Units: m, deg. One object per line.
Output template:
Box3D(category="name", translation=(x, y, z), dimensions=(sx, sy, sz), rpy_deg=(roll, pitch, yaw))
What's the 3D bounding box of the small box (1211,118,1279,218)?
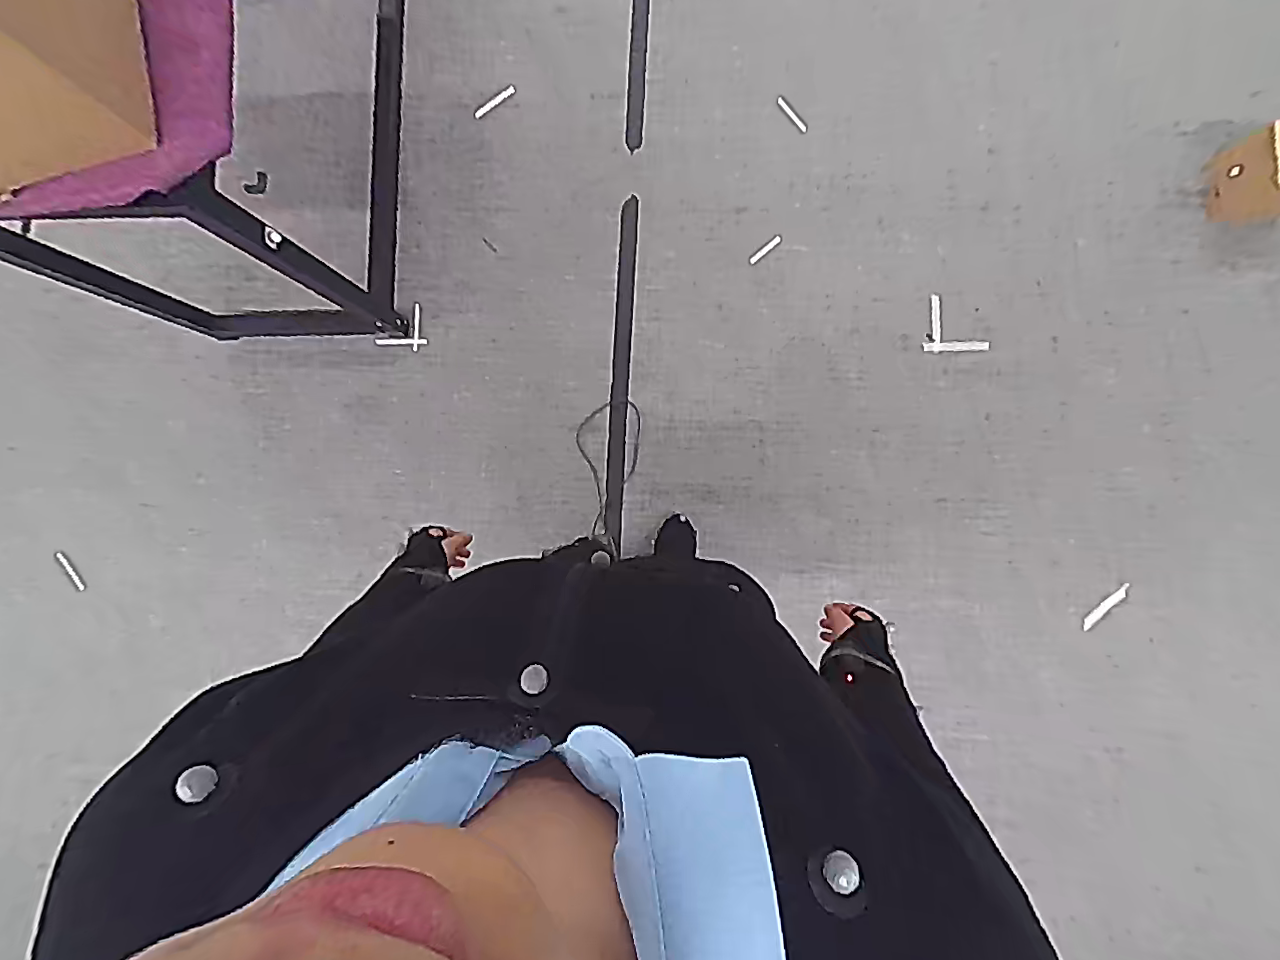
Box3D(category="small box", translation=(1.605, -0.781, 1.364), dimensions=(0.179, 0.176, 0.168), rpy_deg=(0, 88, 3))
